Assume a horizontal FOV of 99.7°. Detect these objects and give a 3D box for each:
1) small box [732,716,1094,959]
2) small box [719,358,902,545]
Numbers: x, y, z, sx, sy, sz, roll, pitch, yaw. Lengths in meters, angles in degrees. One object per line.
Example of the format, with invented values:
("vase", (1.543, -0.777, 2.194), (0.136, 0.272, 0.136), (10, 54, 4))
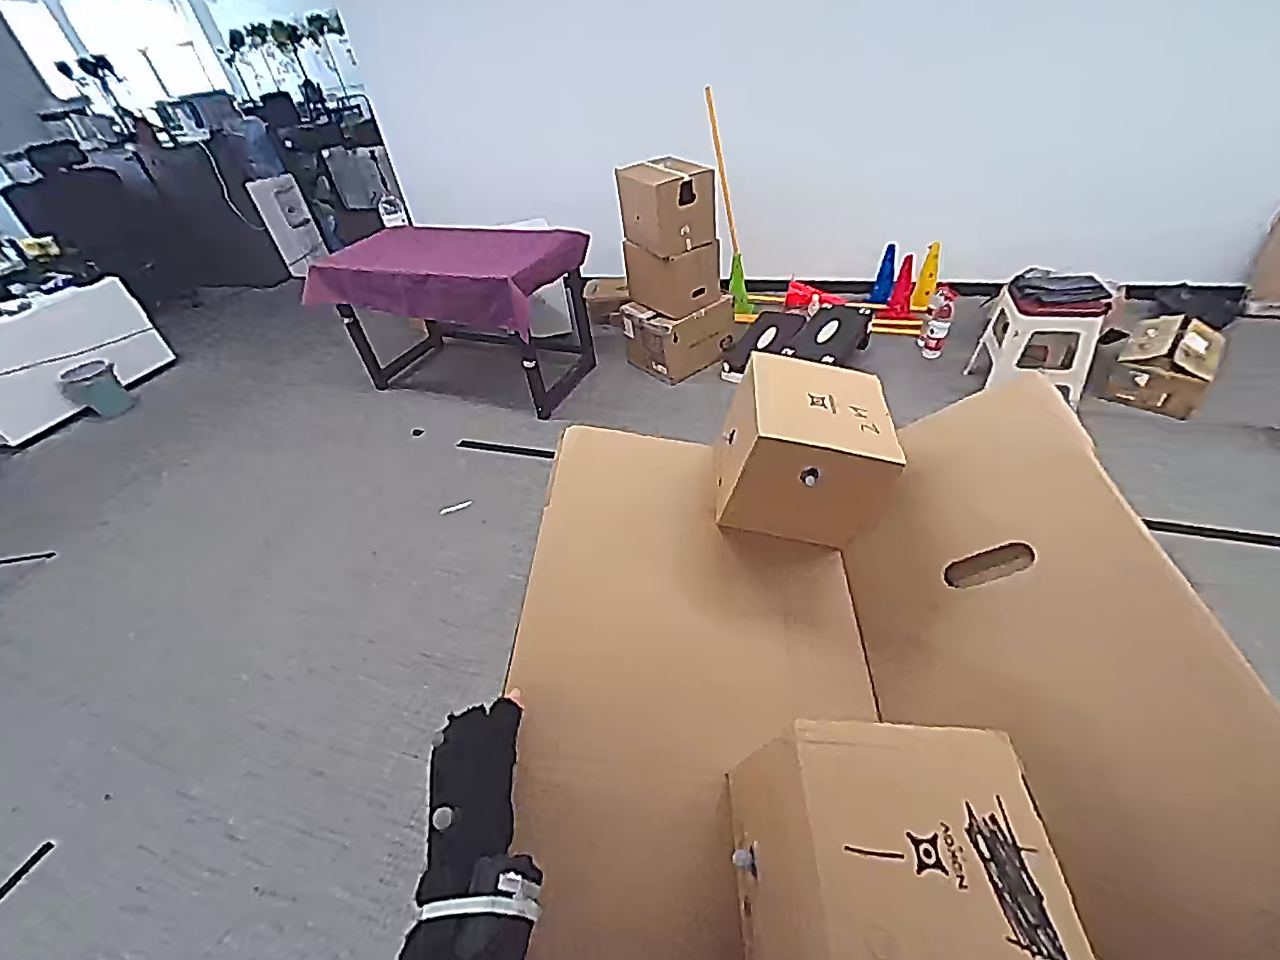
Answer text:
("small box", (0.184, 0.298, 0.419), (0.179, 0.176, 0.168), (6, 49, -6))
("small box", (0.208, -0.033, 0.718), (0.179, 0.176, 0.168), (12, 48, -3))
